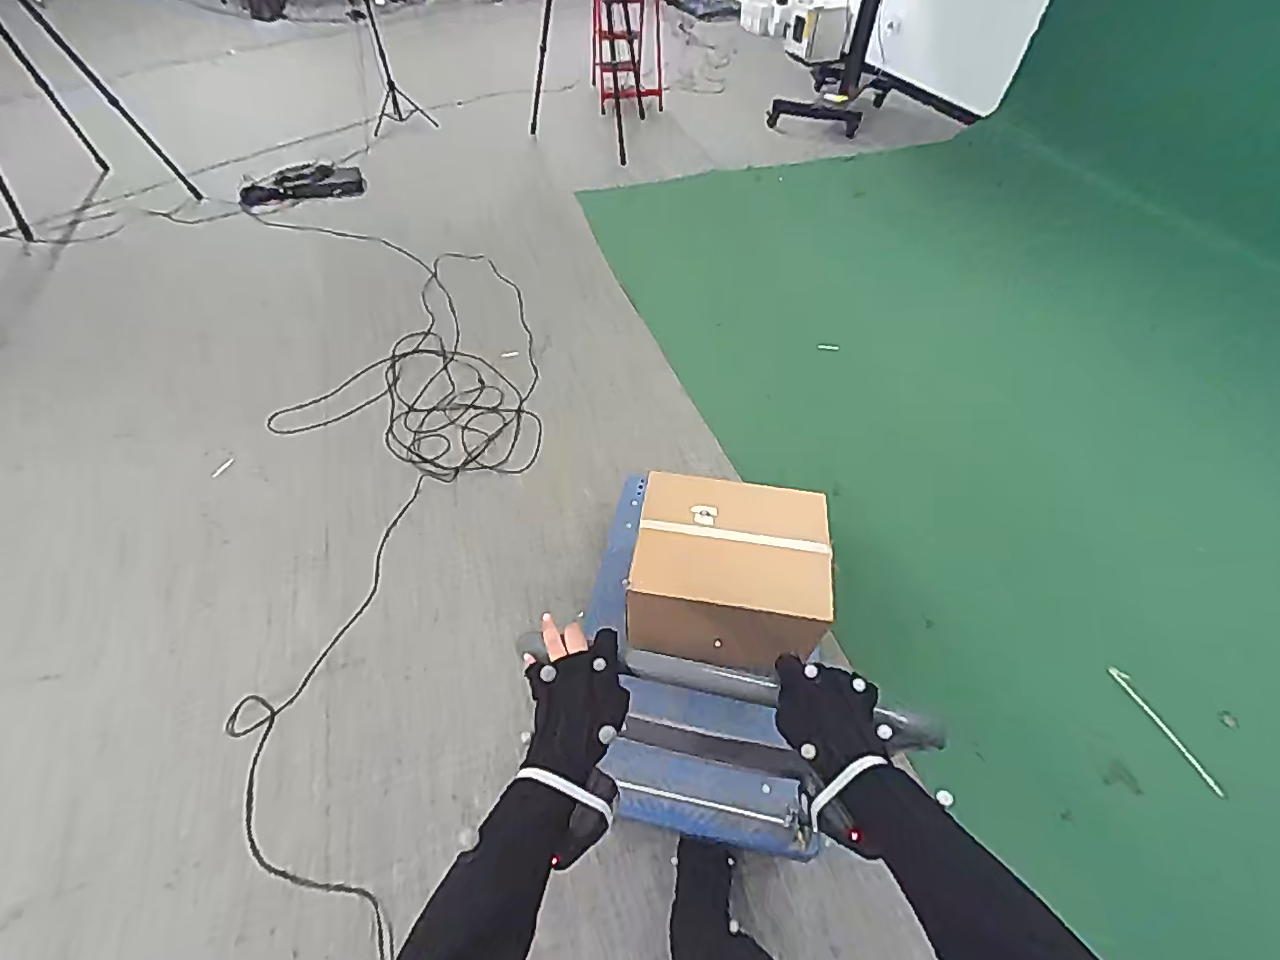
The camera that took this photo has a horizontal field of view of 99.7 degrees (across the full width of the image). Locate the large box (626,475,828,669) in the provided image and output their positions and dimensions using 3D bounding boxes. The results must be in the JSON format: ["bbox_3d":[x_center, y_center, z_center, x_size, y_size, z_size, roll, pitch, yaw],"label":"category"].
[{"bbox_3d":[0.192,0.220,1.267,0.408,0.320,0.320,8,51,6],"label":"large box"}]
